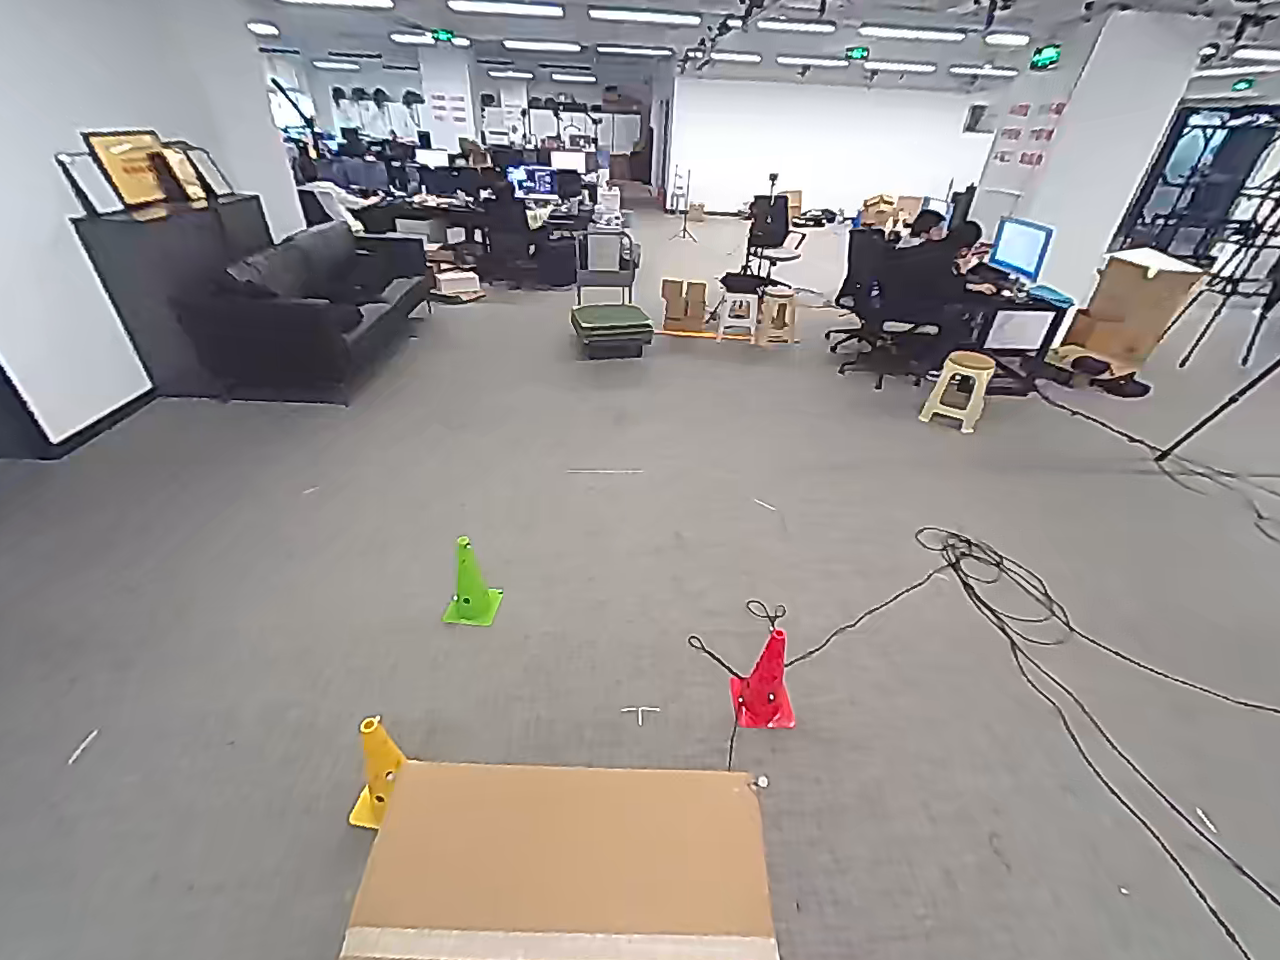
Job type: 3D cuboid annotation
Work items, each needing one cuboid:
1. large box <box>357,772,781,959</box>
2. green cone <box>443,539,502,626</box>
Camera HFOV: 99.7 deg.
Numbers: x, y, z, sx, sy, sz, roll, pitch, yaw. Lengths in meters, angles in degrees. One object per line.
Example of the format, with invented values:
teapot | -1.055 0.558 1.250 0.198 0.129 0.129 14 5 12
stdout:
large box | -0.071 0.552 0.610 0.408 0.320 0.320 2 44 -1
green cone | -0.682 0.377 2.127 0.200 0.368 0.202 4 35 2
